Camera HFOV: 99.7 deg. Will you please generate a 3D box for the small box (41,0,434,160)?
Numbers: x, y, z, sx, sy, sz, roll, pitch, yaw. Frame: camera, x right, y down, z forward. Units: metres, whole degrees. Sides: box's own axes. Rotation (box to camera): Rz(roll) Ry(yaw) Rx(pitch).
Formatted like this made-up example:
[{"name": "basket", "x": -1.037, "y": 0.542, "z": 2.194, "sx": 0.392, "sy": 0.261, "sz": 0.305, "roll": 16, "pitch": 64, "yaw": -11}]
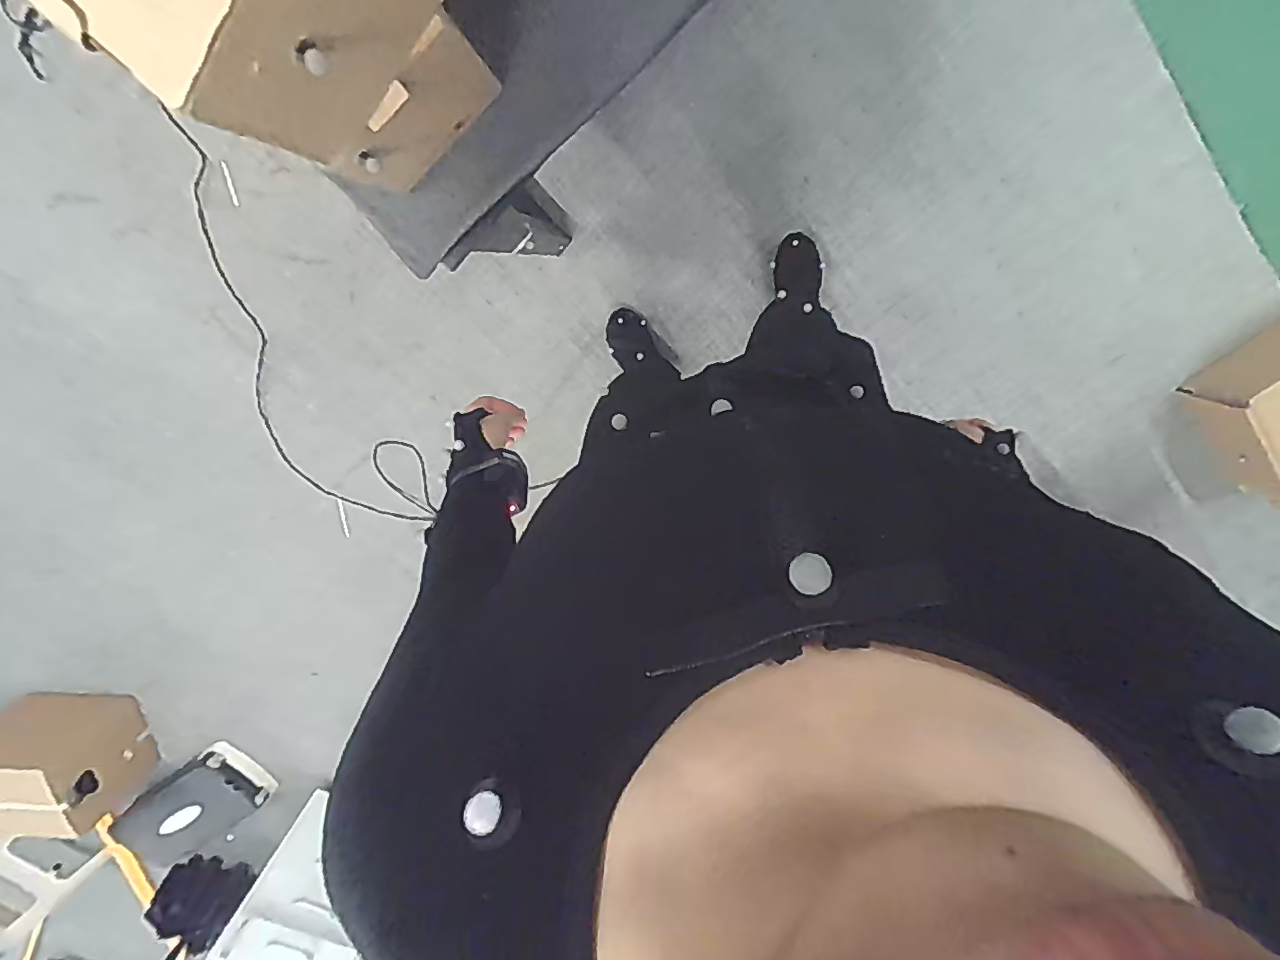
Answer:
[{"name": "small box", "x": -0.270, "y": -0.352, "z": 0.358, "sx": 0.168, "sy": 0.176, "sz": 0.179, "roll": 42, "pitch": 108, "yaw": -12}]
